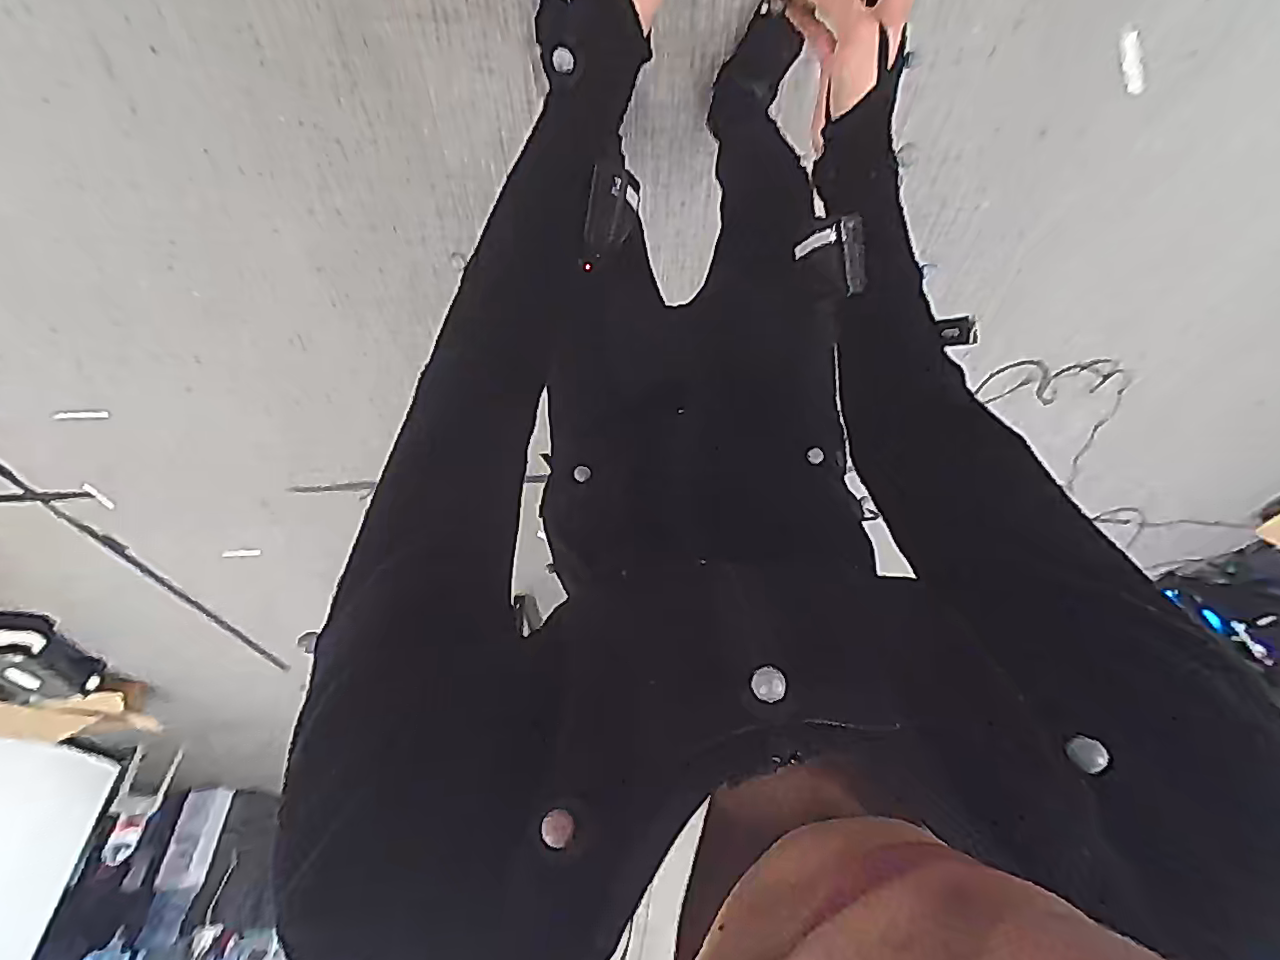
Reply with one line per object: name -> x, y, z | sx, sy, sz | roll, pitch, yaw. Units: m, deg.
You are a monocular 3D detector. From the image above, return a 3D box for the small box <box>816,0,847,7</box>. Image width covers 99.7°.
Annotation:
small box -> 0.086, -0.479, 0.386 | 0.179, 0.176, 0.168 | 7, 132, -21
